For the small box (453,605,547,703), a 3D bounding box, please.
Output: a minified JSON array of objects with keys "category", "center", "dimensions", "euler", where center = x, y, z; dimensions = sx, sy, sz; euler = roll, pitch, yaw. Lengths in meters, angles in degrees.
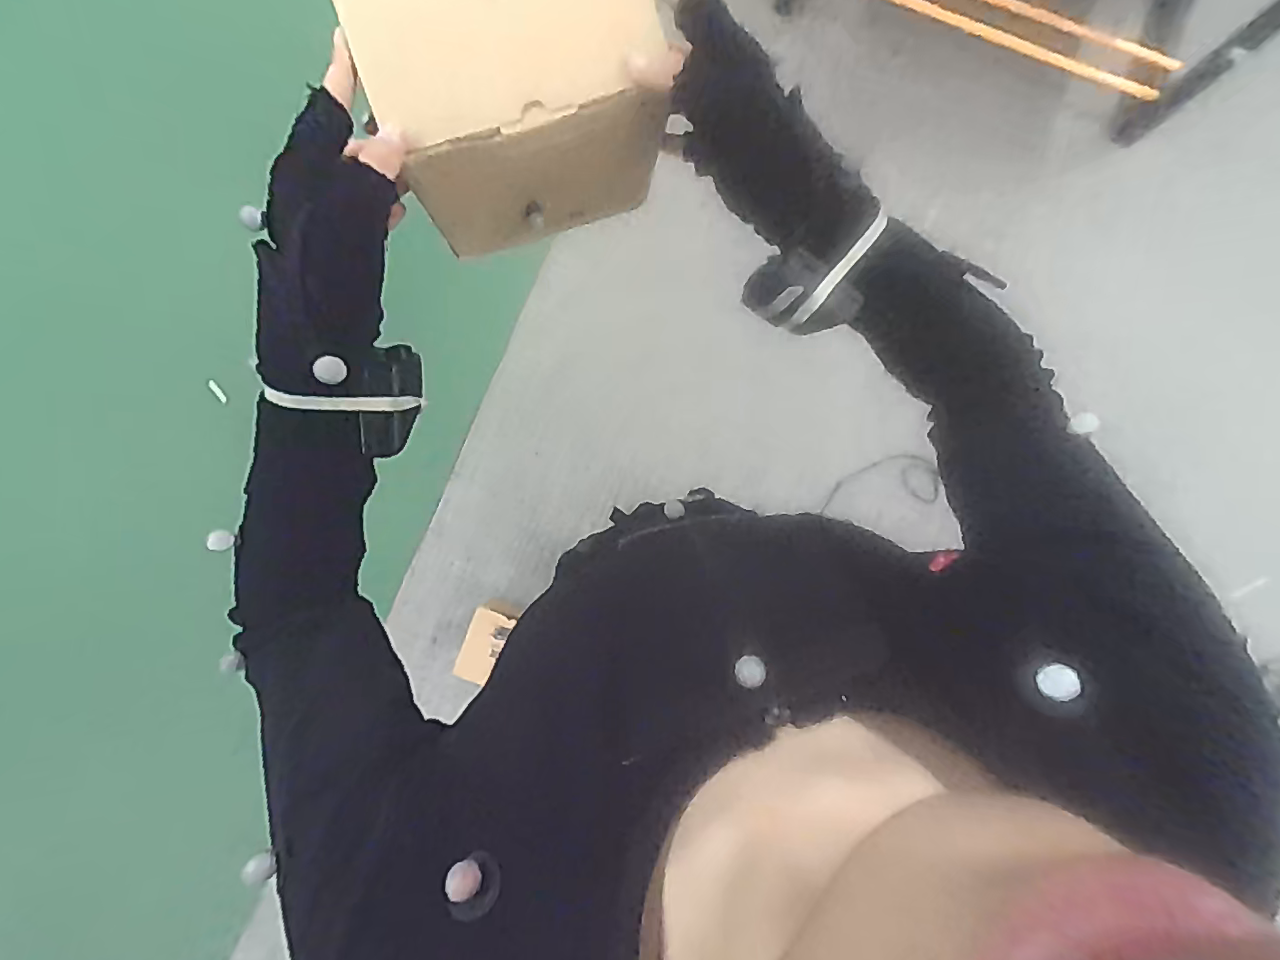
[{"category":"small box","center":[-0.343,0.428,1.368],"dimensions":[0.168,0.176,0.179],"euler":[20,84,1]}]
